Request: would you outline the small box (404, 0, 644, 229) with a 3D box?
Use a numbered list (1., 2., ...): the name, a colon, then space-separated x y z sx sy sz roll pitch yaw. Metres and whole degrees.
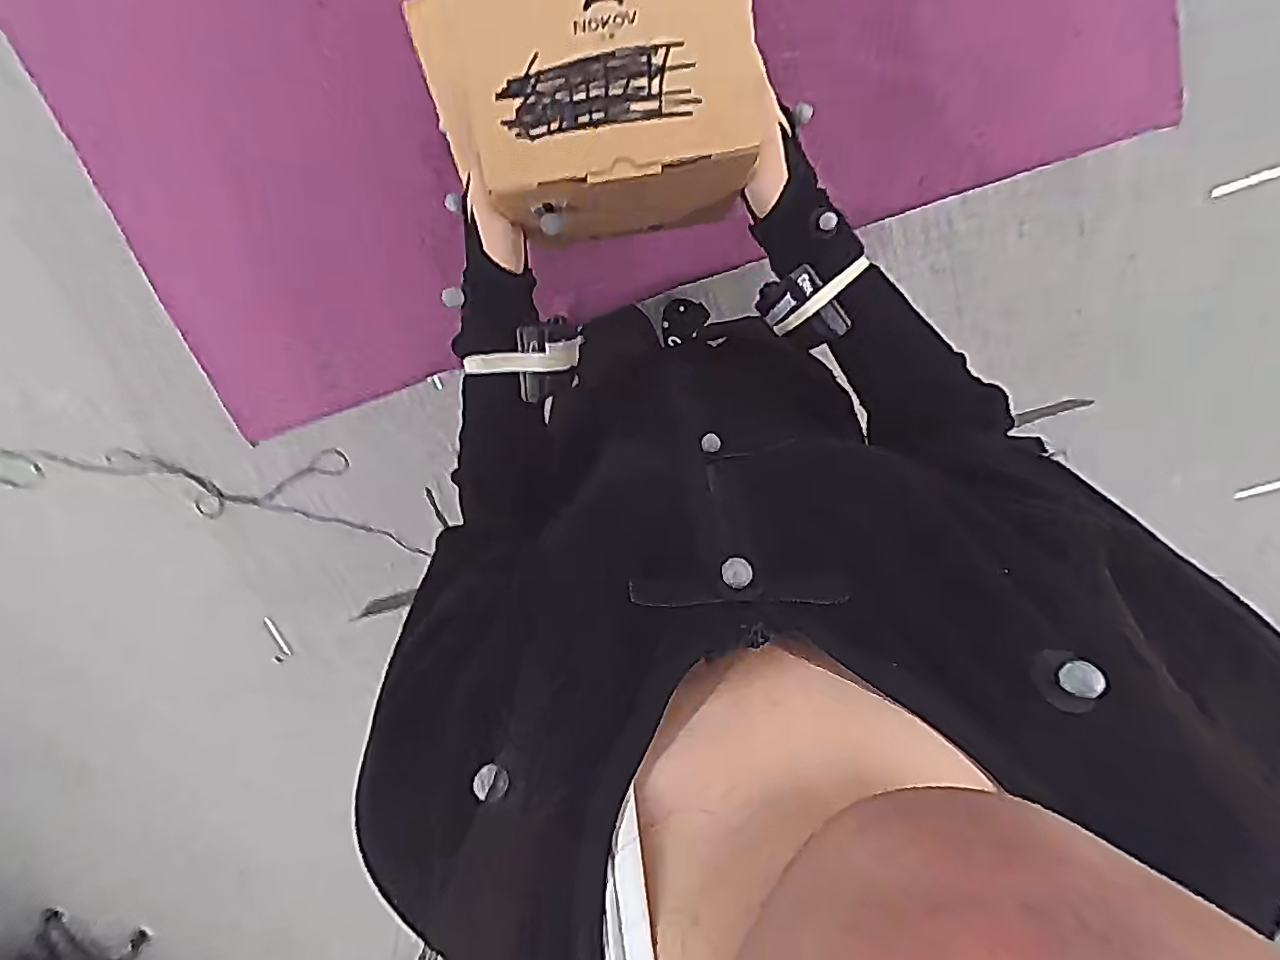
1. small box: -0.098 -0.377 0.548 0.168 0.176 0.179 -15 108 8
